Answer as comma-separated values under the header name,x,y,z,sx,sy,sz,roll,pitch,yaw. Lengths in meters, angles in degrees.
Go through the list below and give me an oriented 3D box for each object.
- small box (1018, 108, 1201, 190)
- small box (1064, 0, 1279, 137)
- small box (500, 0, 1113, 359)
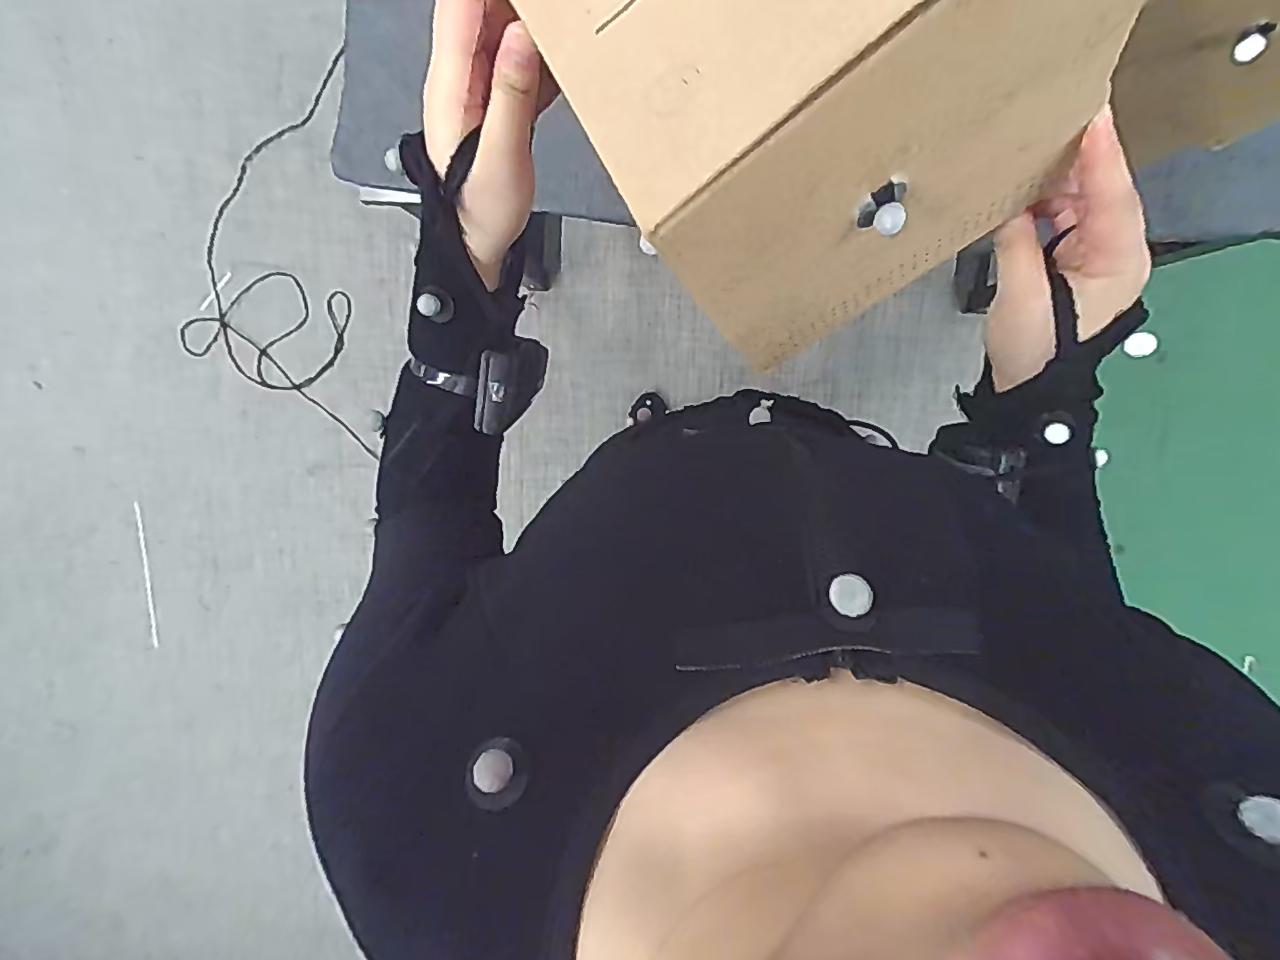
name,x,y,z,sx,sy,sz,roll,pitch,yaw
small box,0.471,-0.430,0.562,0.168,0.176,0.179,6,99,5
small box,0.455,-0.392,0.404,0.179,0.176,0.168,16,99,4
small box,0.069,-0.185,0.249,0.179,0.176,0.168,-32,72,21
